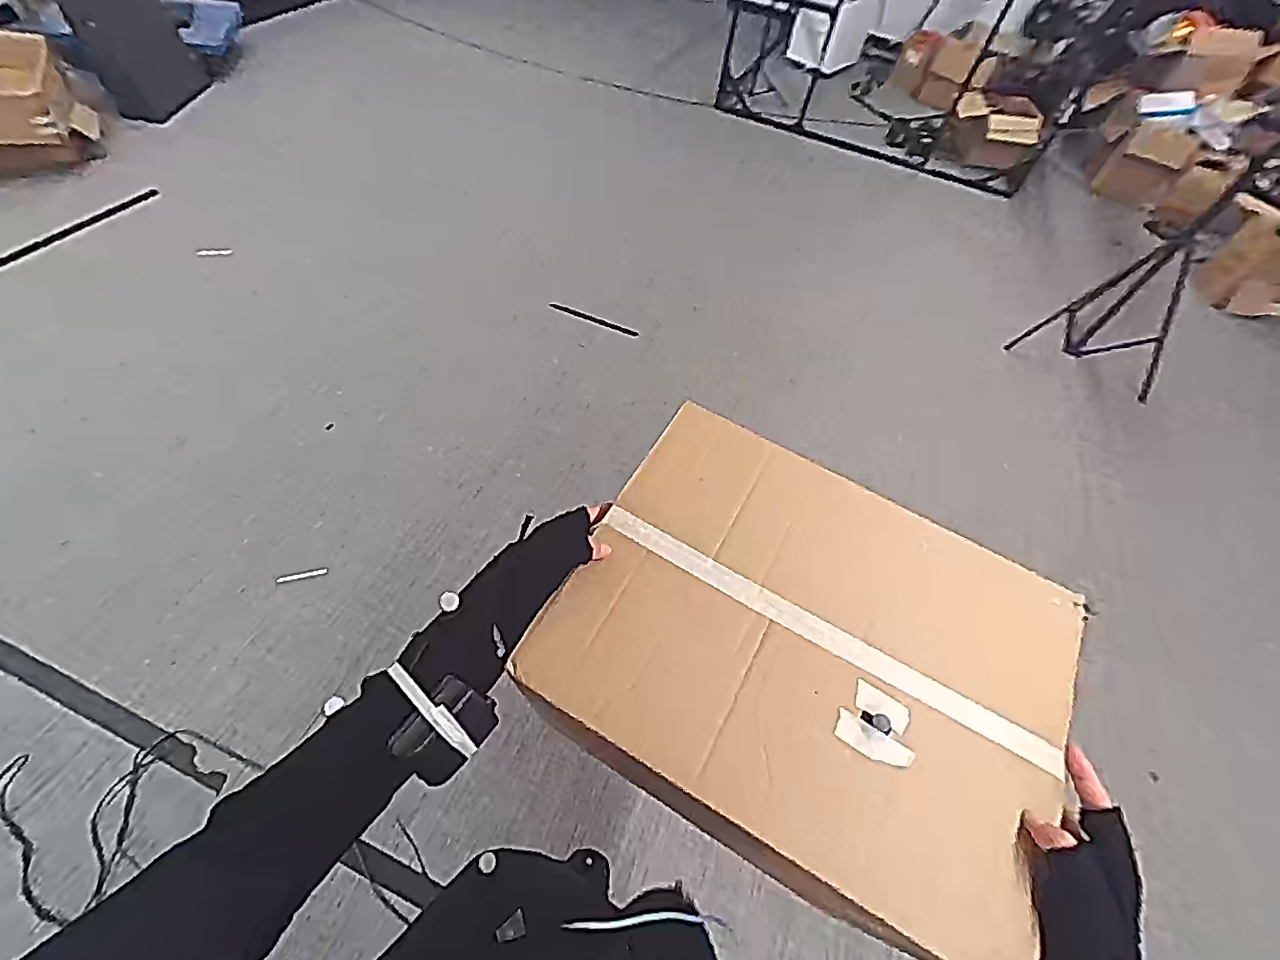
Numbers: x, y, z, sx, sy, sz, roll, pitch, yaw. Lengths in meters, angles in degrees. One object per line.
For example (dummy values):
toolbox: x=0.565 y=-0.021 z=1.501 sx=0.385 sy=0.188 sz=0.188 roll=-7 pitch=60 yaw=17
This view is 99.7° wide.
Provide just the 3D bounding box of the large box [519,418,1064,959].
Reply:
large box: x=0.132 y=0.206 z=0.591 sx=0.408 sy=0.320 sz=0.320 roll=29 pitch=63 yaw=11
